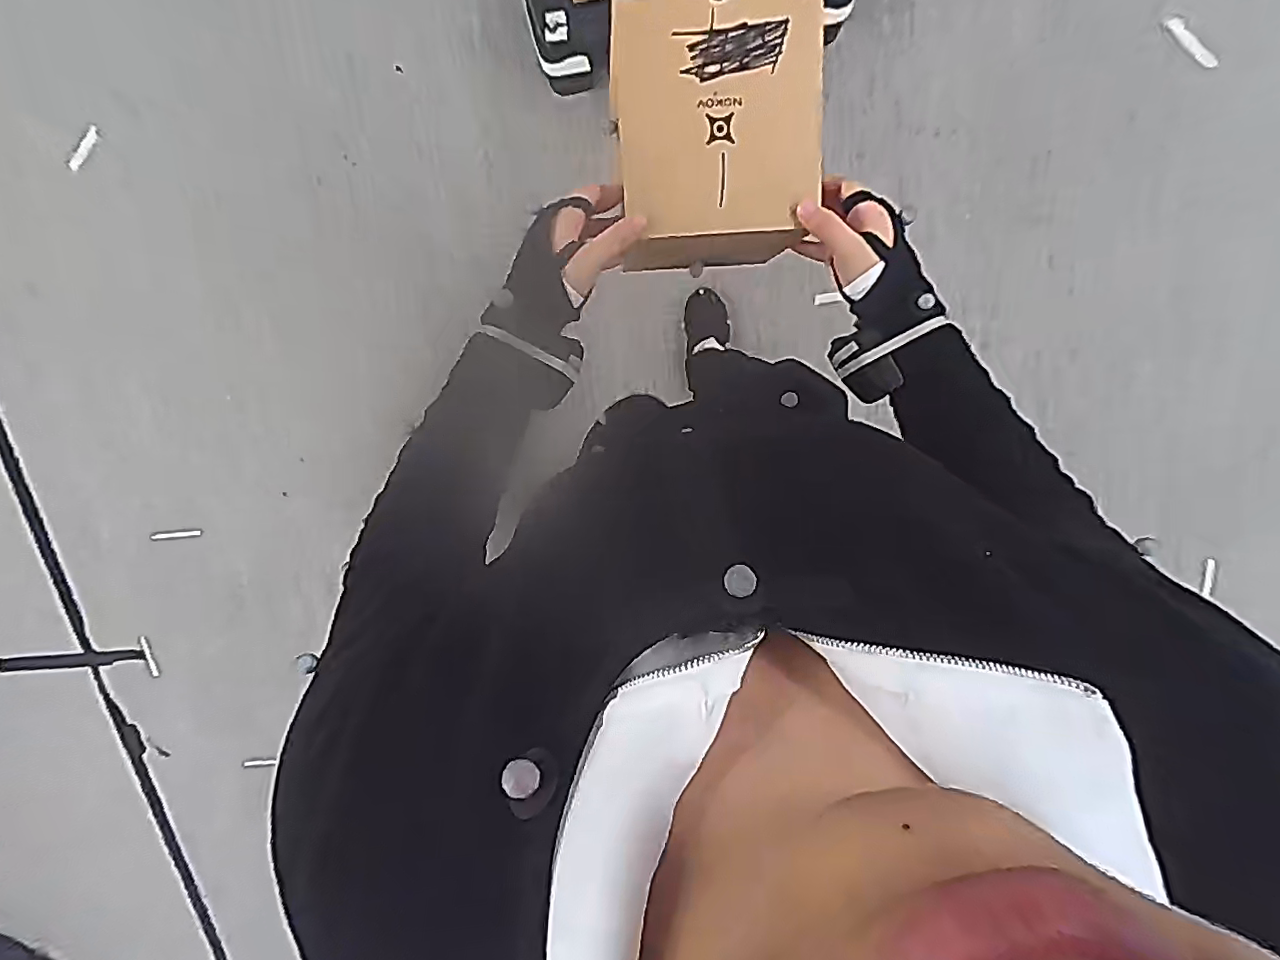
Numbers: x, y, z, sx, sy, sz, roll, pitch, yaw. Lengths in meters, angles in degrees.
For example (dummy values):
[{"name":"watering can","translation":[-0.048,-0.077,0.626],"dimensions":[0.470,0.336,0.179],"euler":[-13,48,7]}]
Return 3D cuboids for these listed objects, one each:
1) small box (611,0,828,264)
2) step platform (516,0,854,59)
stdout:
[{"name":"small box","translation":[0.061,-0.312,0.504],"dimensions":[0.168,0.176,0.179],"euler":[-4,103,-3]},{"name":"step platform","translation":[0.101,-0.970,0.921],"dimensions":[0.684,0.204,0.286],"euler":[-8,103,4]}]
